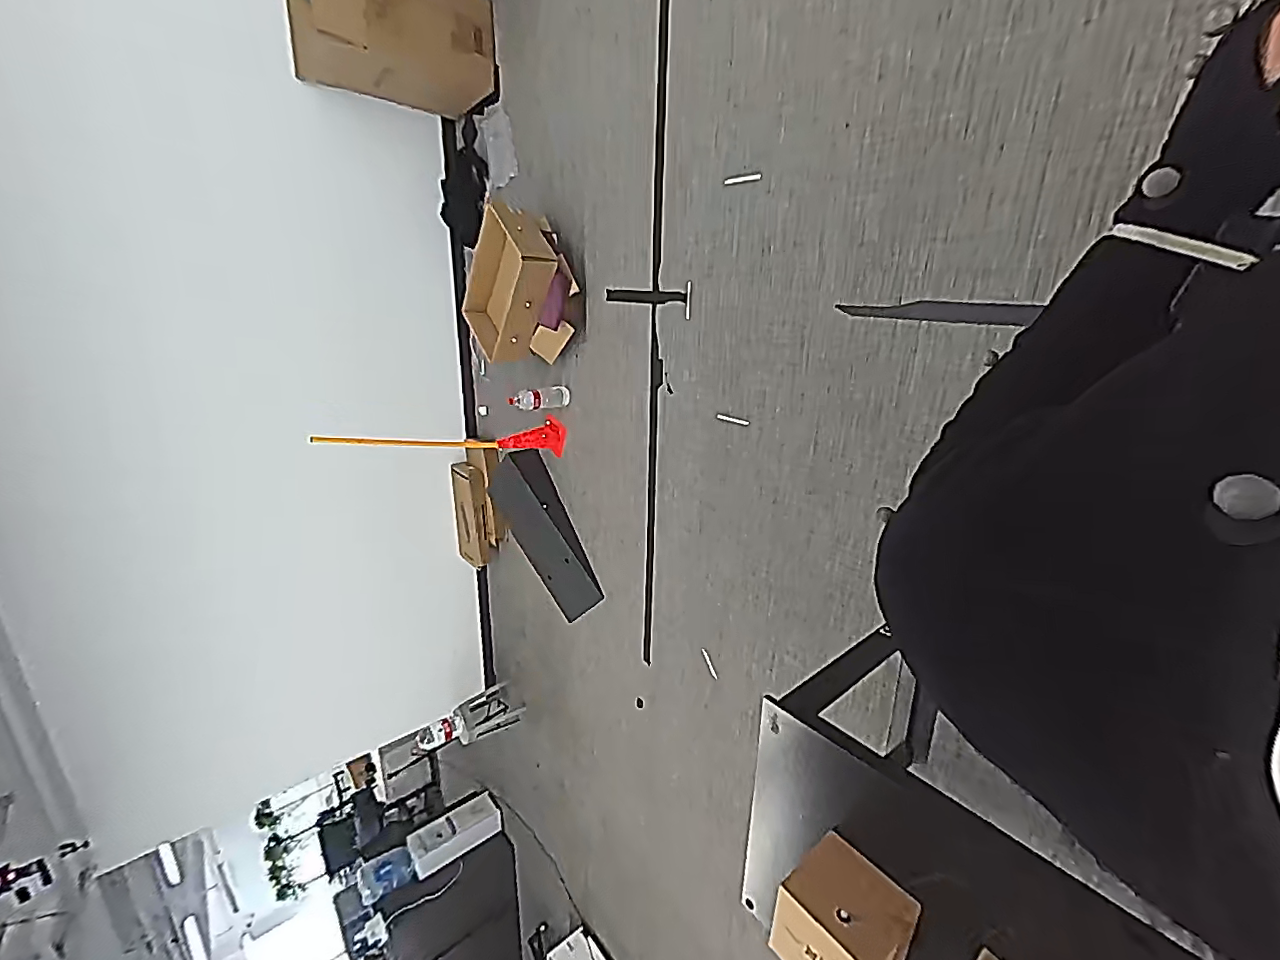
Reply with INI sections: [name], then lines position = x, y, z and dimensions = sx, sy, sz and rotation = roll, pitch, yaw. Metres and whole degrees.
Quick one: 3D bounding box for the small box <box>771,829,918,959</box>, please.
[small box]
position = 0.363, 0.779, 0.964
dimensions = 0.179, 0.176, 0.168
rotation = 25, 120, 46
